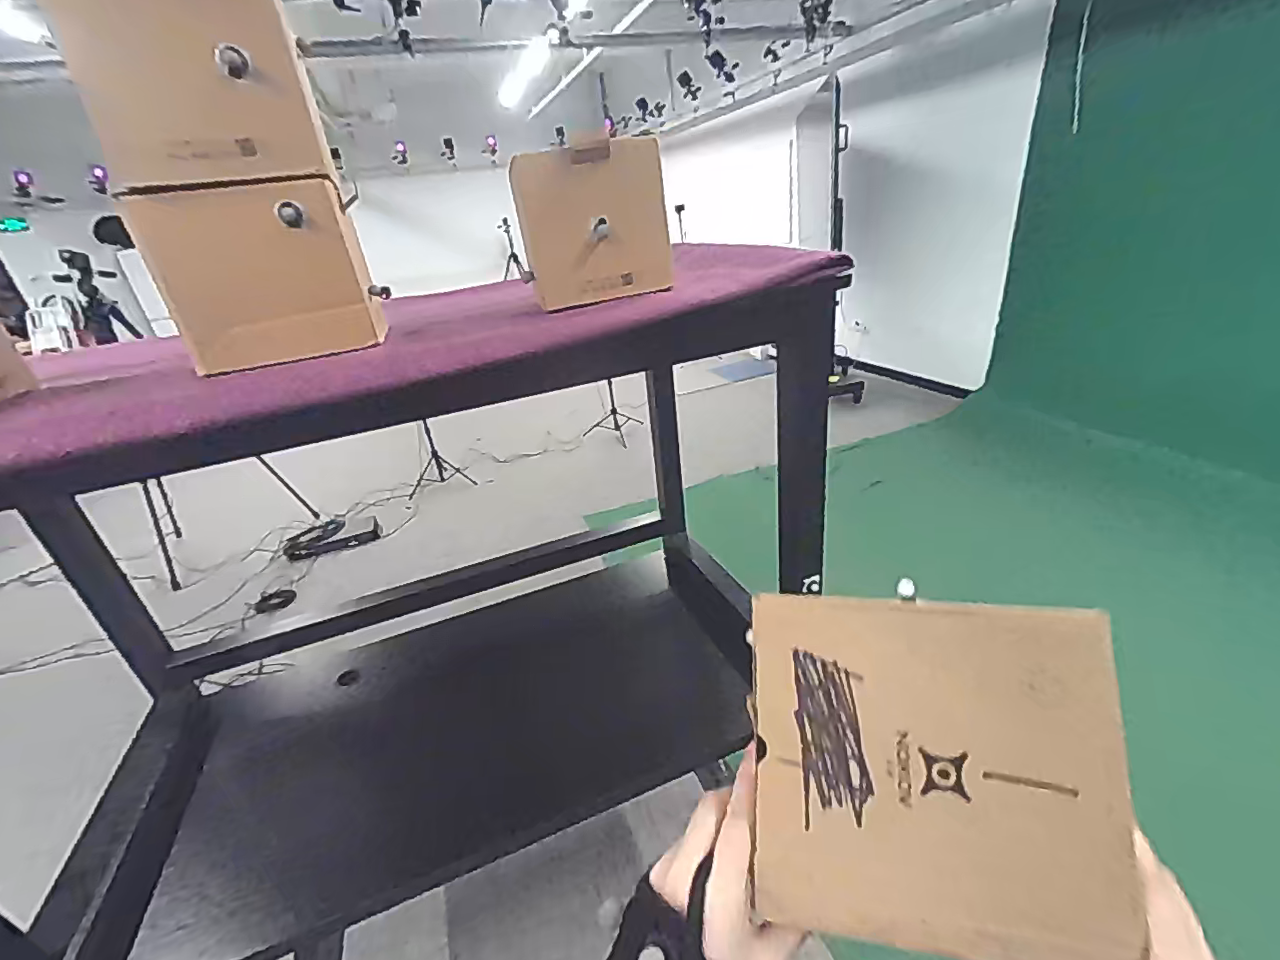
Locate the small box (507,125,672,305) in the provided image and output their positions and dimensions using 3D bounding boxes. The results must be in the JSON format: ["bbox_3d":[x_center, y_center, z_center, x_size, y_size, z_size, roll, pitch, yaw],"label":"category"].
[{"bbox_3d":[-0.066,-0.326,0.688,0.168,0.176,0.179,-14,25,-9],"label":"small box"}]

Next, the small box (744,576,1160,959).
[{"bbox_3d":[0.163,0.150,0.342,0.179,0.168,0.176,-1,-10,15],"label":"small box"}]

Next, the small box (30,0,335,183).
[{"bbox_3d":[-0.413,-0.373,0.520,0.168,0.176,0.179,-15,25,-19],"label":"small box"}]

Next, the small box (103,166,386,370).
[{"bbox_3d":[-0.399,-0.226,0.588,0.179,0.176,0.168,-15,26,-16],"label":"small box"}]
